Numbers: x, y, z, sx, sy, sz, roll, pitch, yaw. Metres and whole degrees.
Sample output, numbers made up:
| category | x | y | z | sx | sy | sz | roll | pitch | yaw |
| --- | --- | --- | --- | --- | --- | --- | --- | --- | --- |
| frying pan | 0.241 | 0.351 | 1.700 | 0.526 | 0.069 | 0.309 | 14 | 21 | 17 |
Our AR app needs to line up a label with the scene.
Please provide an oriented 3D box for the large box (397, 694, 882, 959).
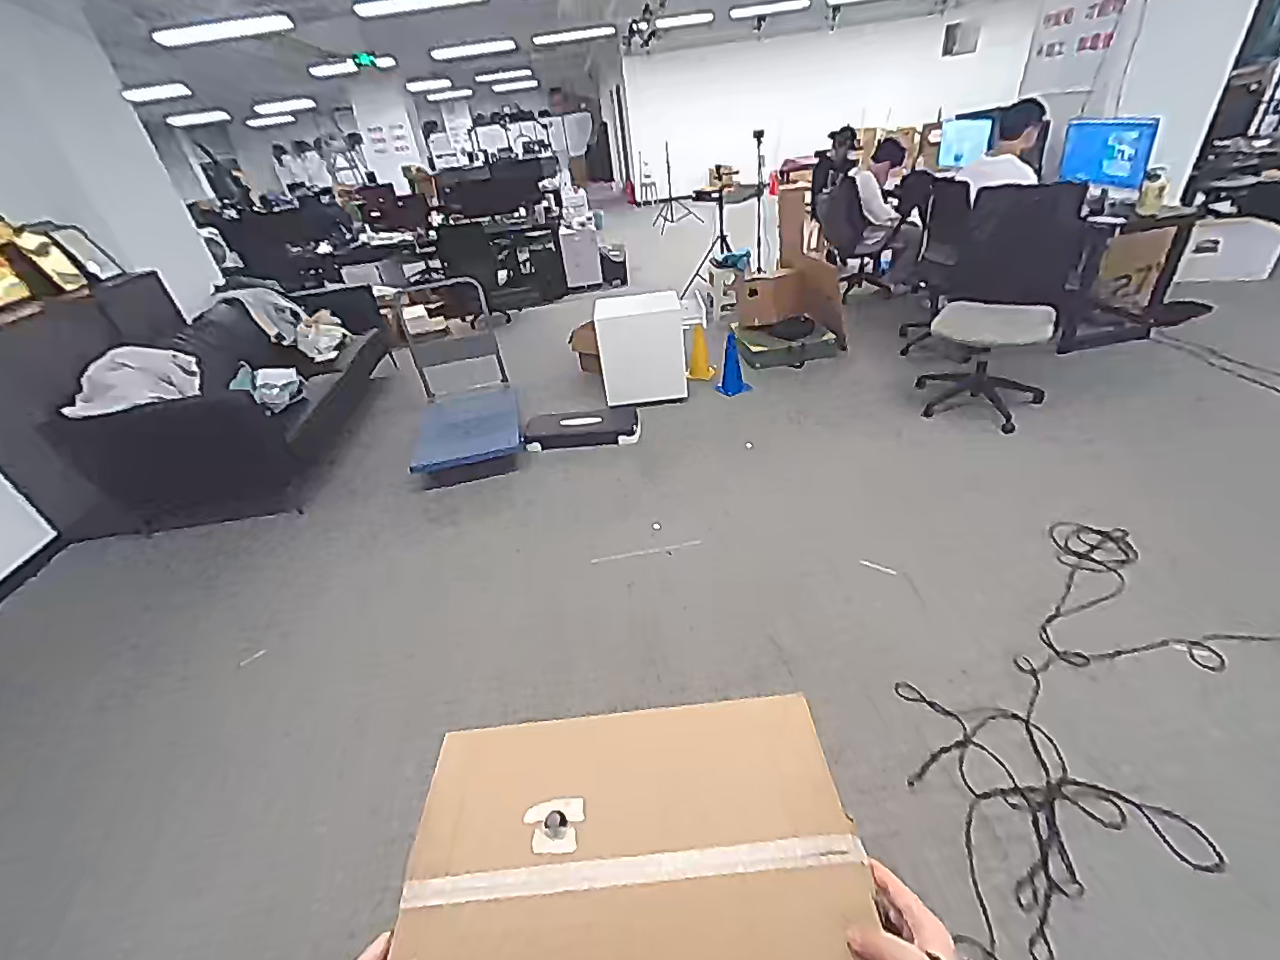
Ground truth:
| category | x | y | z | sx | sy | sz | roll | pitch | yaw |
| --- | --- | --- | --- | --- | --- | --- | --- | --- | --- |
| large box | 0.011 | 0.477 | 0.573 | 0.408 | 0.320 | 0.320 | -9 | 34 | 3 |
